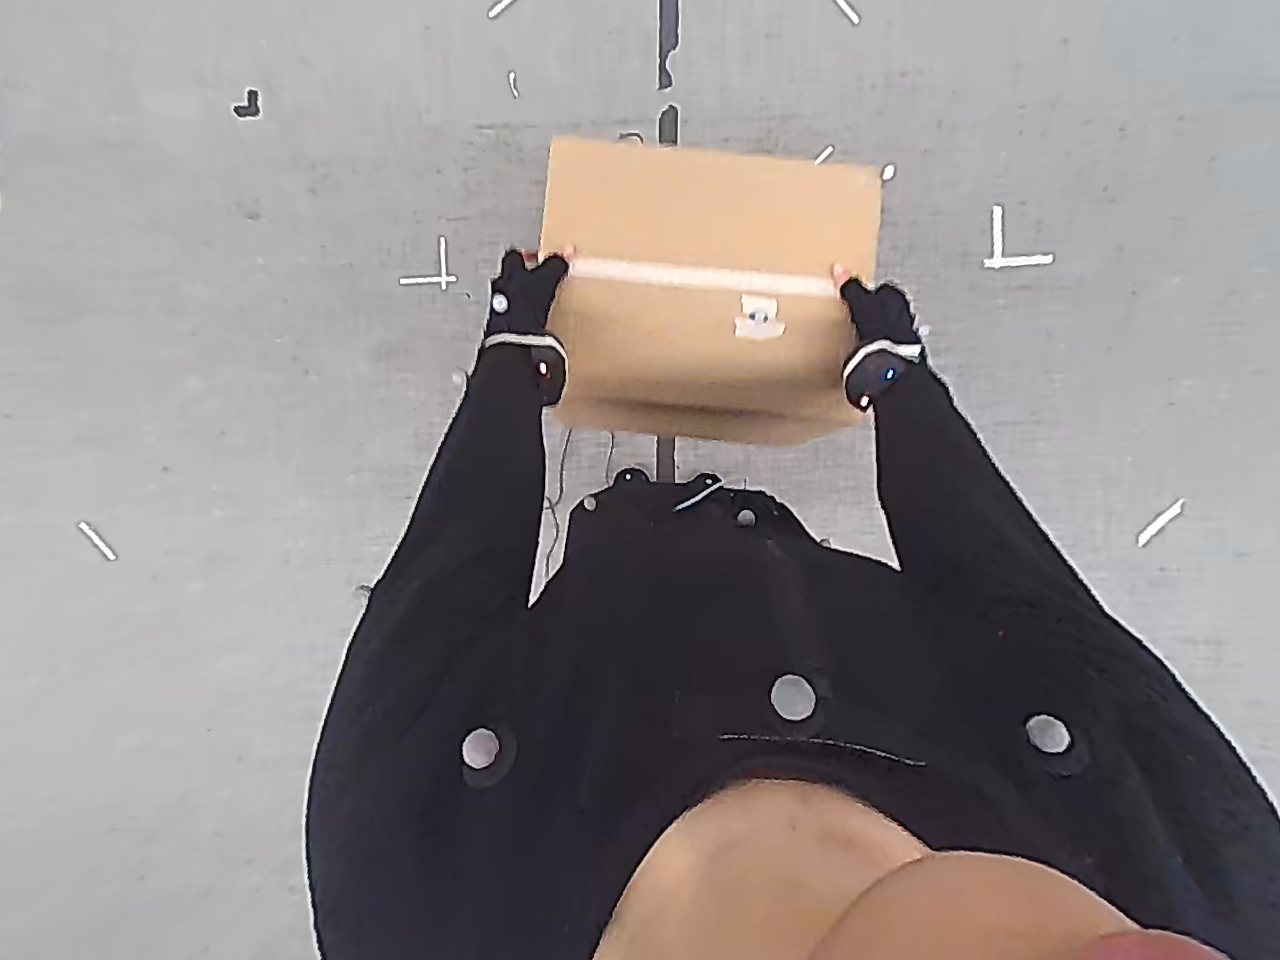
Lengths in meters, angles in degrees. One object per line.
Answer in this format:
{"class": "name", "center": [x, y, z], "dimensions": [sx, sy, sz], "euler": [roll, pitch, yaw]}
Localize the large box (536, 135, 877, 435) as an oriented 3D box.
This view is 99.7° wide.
{"class": "large box", "center": [0.077, -0.250, 0.804], "dimensions": [0.408, 0.320, 0.320], "euler": [5, 89, -1]}
